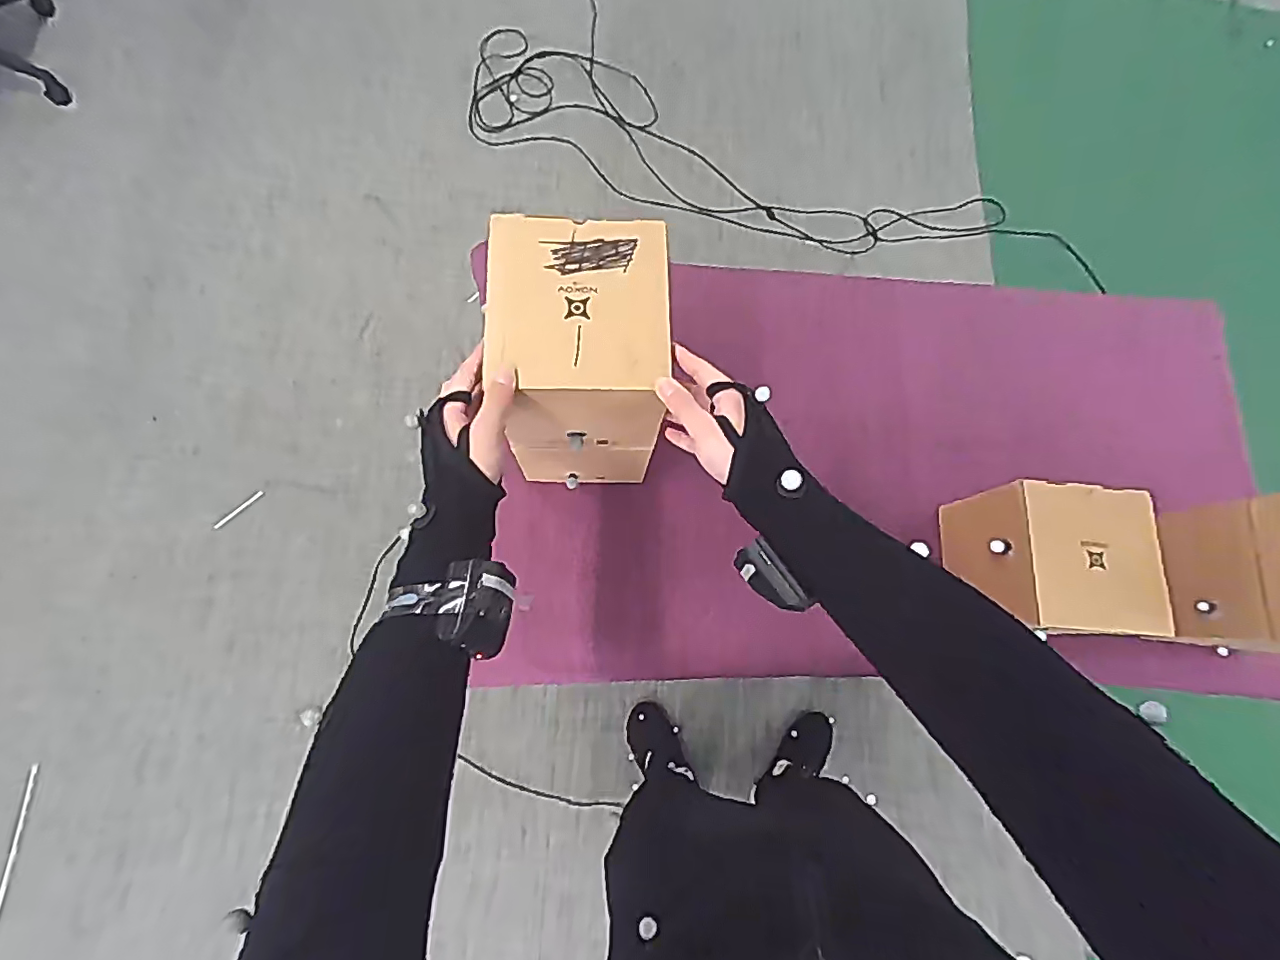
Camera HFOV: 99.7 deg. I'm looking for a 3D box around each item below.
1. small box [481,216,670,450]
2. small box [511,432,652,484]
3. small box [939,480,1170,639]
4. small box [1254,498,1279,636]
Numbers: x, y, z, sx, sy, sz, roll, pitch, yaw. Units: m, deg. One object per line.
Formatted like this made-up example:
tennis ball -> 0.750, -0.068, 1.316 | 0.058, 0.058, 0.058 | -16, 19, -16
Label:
small box -> -0.061, -0.140, 0.562 | 0.168, 0.176, 0.179 | 0, 77, -4
small box -> -0.074, -0.100, 0.720 | 0.168, 0.176, 0.179 | 0, 77, -4
small box -> 0.525, 0.112, 0.713 | 0.168, 0.176, 0.179 | 5, 74, -3
small box -> 0.819, 0.097, 0.567 | 0.168, 0.176, 0.179 | 7, 74, -1
